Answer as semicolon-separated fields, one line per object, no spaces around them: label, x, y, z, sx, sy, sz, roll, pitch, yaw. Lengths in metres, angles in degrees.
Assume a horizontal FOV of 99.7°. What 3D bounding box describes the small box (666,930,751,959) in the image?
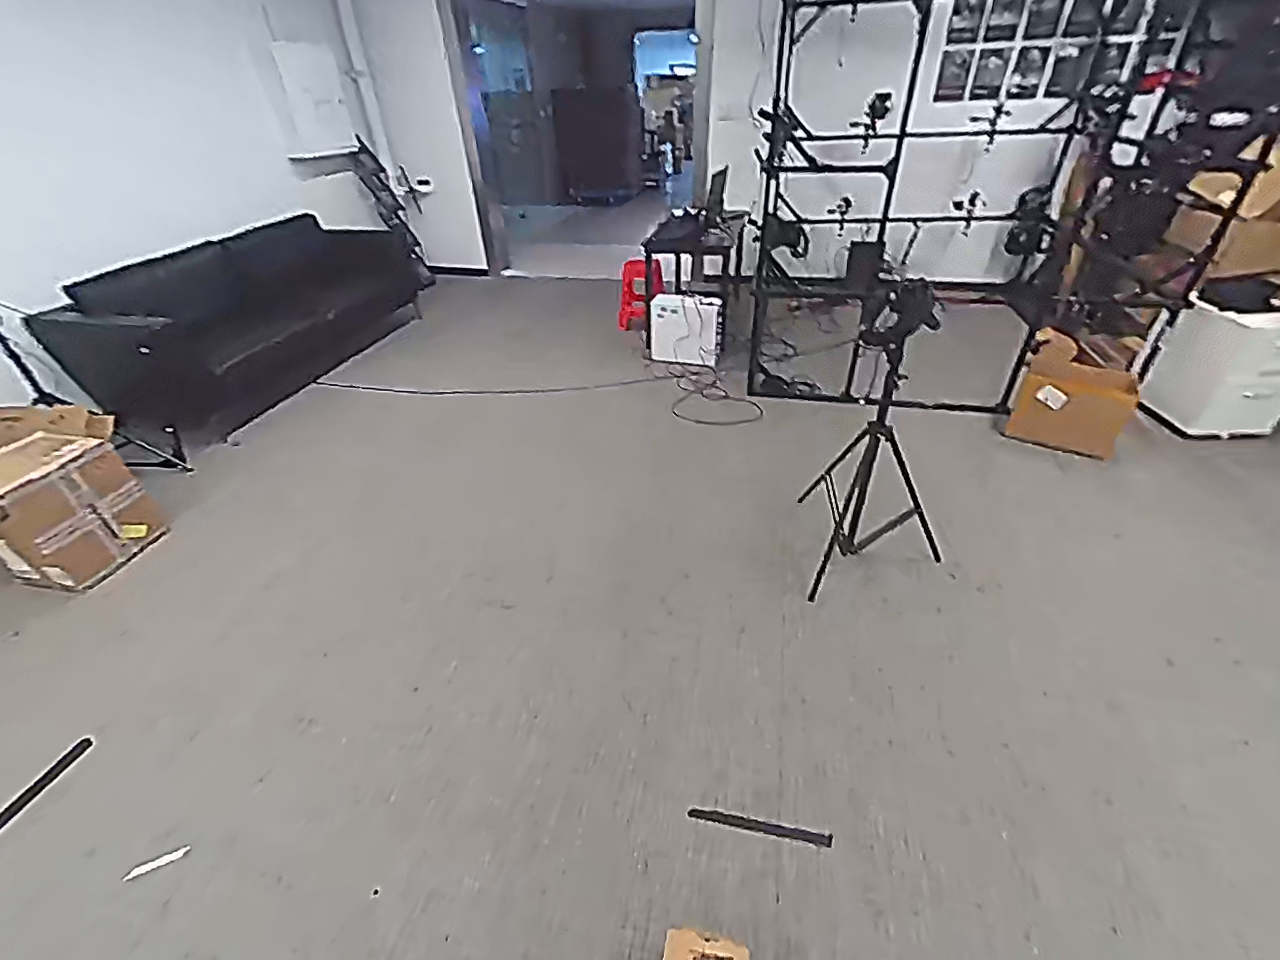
small box;0.122;1.036;1.059;0.168;0.176;0.179;5;37;12
